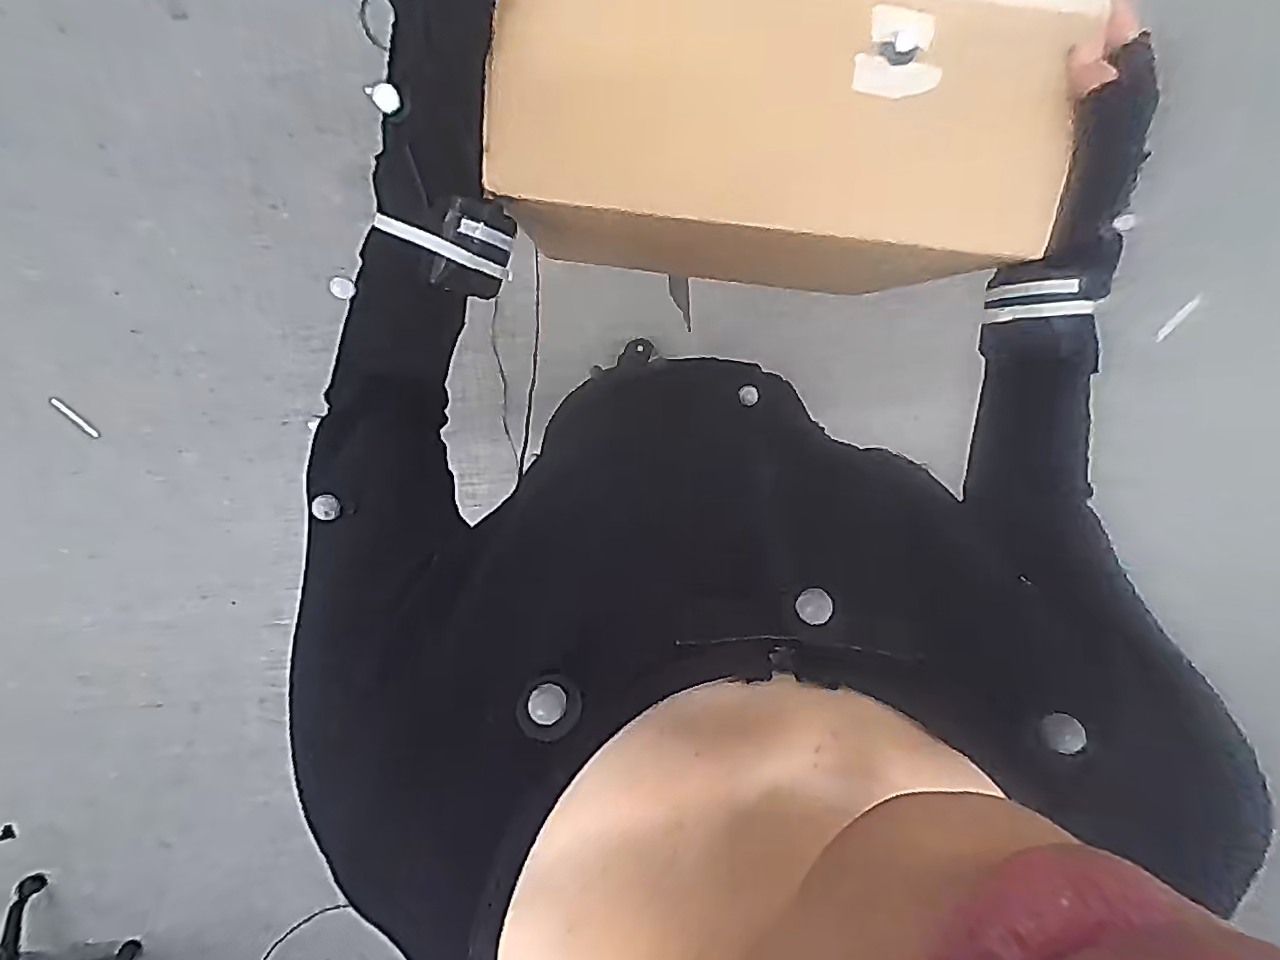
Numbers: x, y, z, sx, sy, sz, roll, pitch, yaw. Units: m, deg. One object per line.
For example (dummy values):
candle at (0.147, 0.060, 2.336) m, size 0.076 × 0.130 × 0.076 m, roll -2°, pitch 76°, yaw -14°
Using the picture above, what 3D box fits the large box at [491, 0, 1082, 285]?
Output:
large box at (0.096, -0.376, 0.501) m, size 0.408 × 0.320 × 0.320 m, roll 5°, pitch 104°, yaw -3°
